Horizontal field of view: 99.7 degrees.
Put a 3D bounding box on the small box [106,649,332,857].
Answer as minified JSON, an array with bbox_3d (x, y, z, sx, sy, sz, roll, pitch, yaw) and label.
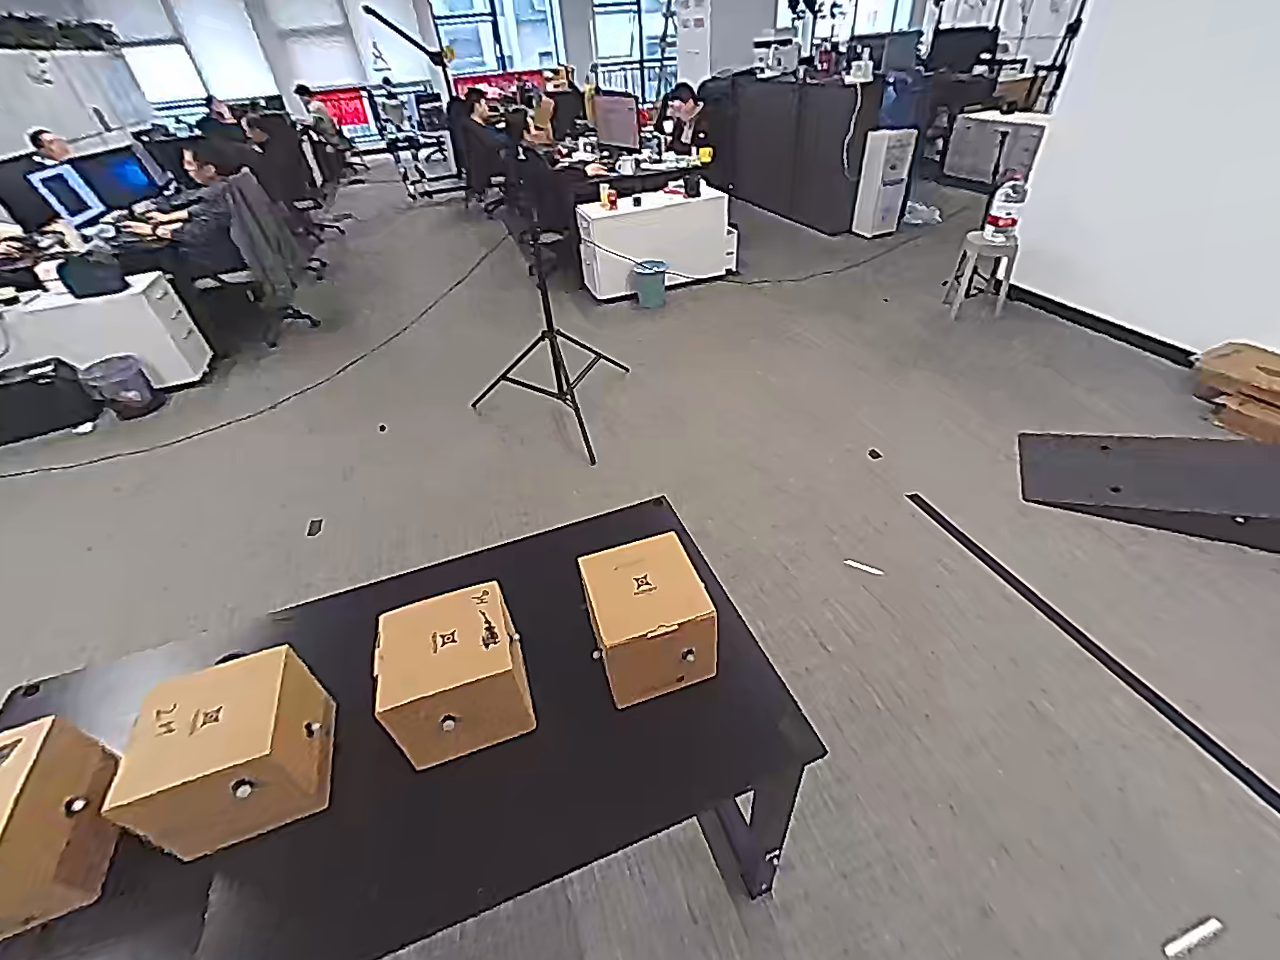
[{"bbox_3d":[-0.546,0.370,0.738,0.179,0.176,0.168,-17,40,-14],"label":"small box"}]

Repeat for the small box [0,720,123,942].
[{"bbox_3d":[-0.794,0.445,0.675,0.168,0.176,0.179,-18,42,-15],"label":"small box"}]

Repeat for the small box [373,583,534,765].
[{"bbox_3d":[-0.272,0.291,0.807,0.179,0.176,0.168,-16,41,-12],"label":"small box"}]

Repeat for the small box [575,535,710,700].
[{"bbox_3d":[0.005,0.222,0.860,0.168,0.176,0.179,-15,39,-12],"label":"small box"}]
